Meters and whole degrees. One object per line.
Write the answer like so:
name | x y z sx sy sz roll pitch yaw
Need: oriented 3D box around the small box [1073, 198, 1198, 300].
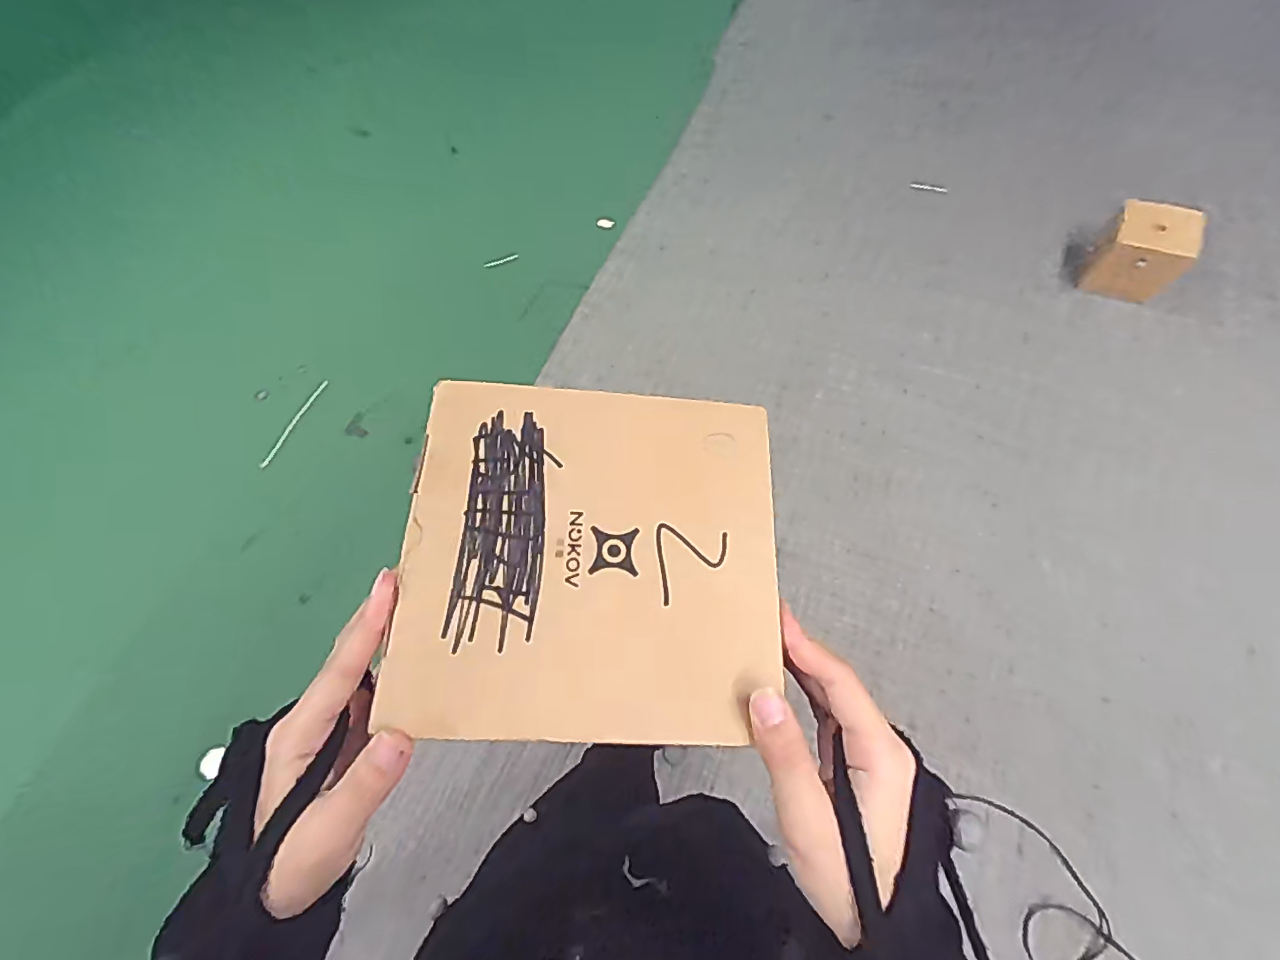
small box | 1.305 -0.605 1.432 0.179 0.176 0.168 21 71 16
